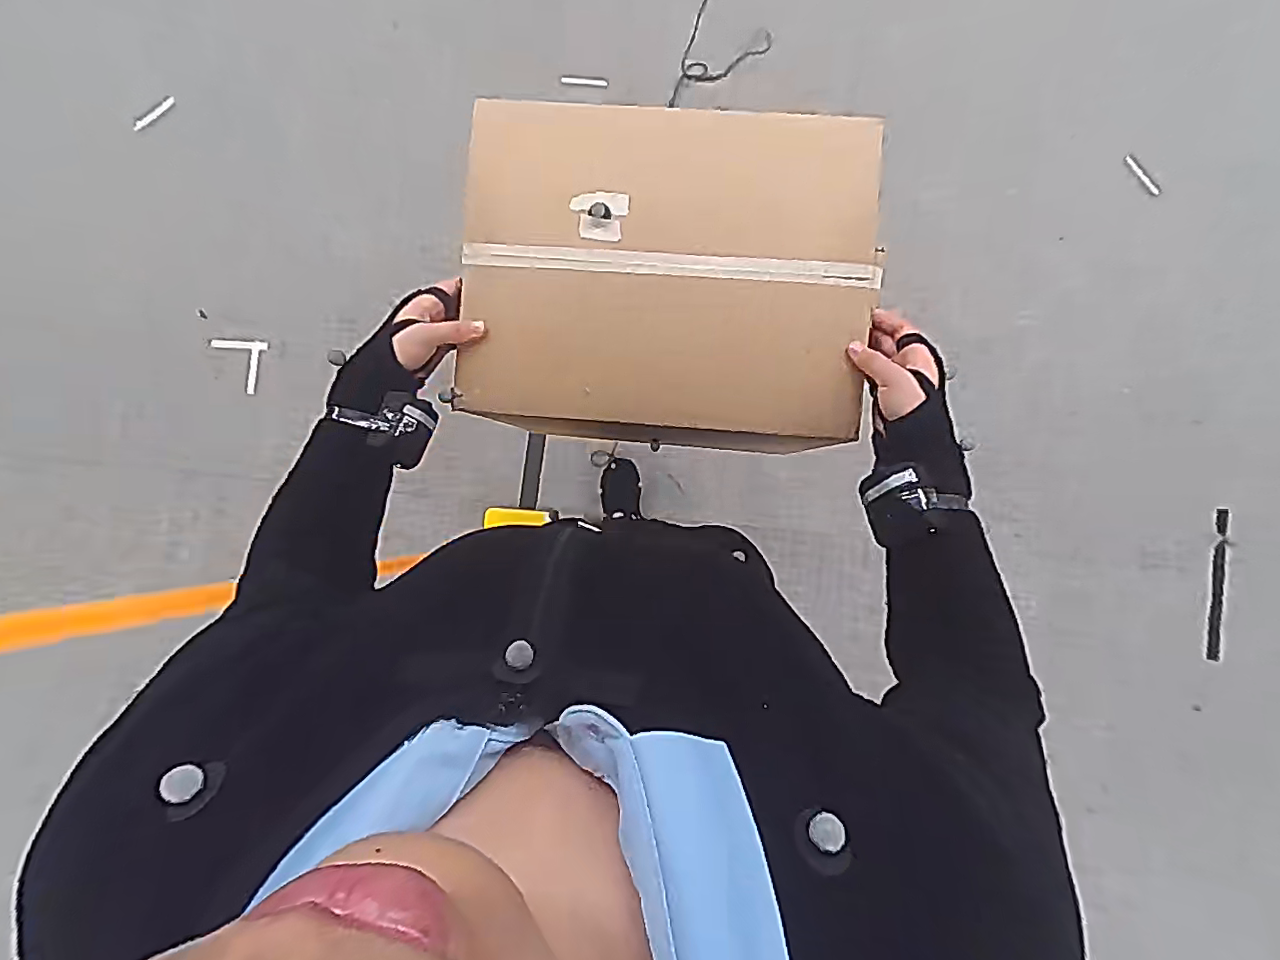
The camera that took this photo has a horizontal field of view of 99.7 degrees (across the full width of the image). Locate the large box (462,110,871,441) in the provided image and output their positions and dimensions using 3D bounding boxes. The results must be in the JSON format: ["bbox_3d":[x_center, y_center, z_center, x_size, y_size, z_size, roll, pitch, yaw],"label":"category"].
[{"bbox_3d":[0.034,-0.218,0.691,0.408,0.320,0.320,4,90,4],"label":"large box"}]
